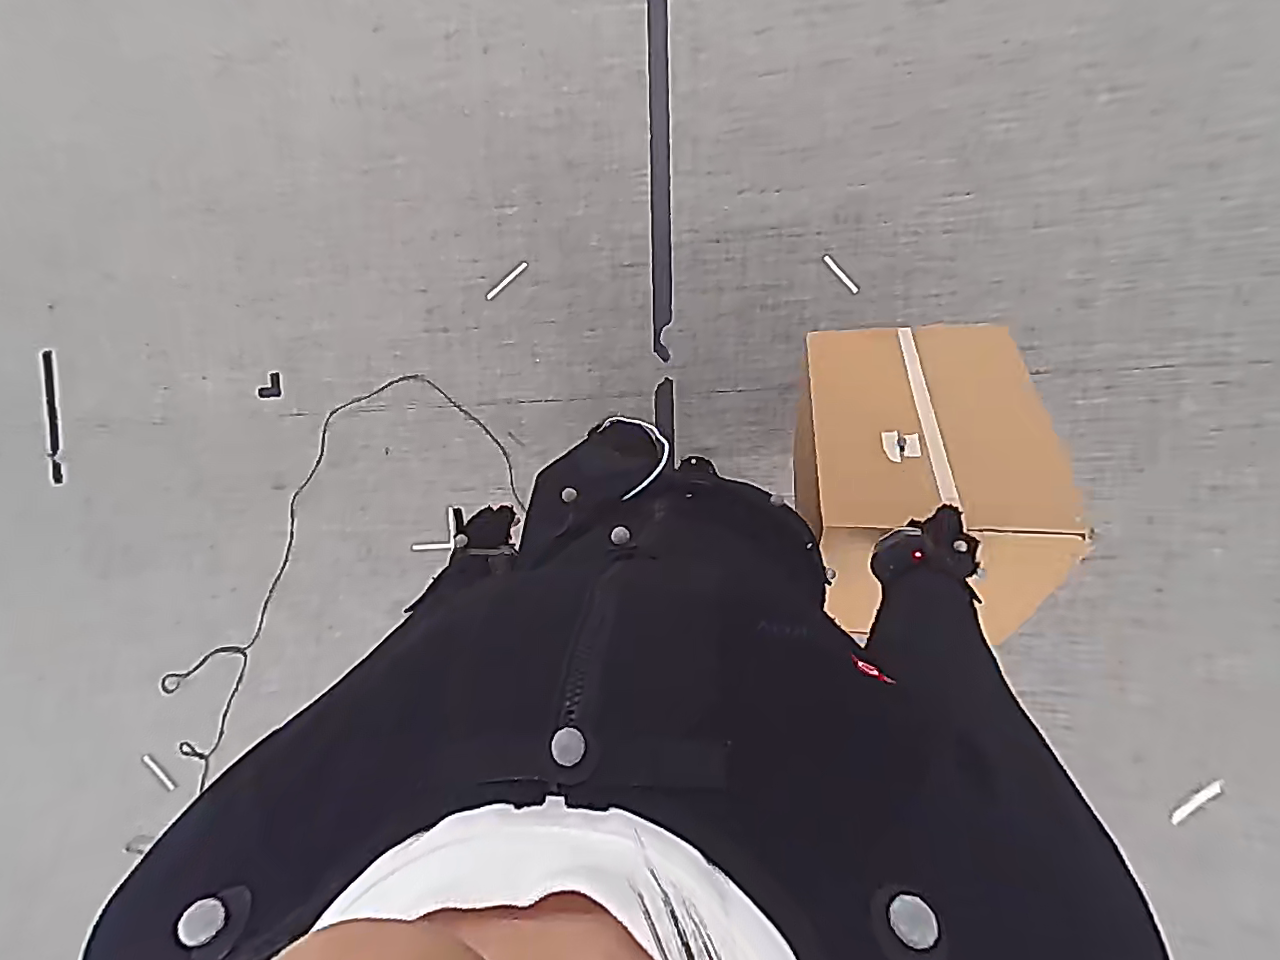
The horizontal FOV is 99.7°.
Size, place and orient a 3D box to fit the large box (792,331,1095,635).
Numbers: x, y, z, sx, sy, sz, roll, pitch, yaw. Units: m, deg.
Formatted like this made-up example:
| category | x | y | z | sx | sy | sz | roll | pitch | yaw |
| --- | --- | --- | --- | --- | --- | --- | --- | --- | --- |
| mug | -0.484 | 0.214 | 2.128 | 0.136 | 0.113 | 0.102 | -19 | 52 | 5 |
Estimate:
| category | x | y | z | sx | sy | sz | roll | pitch | yaw |
| --- | --- | --- | --- | --- | --- | --- | --- | --- | --- |
| large box | 0.434 | 0.002 | 0.901 | 0.320 | 0.320 | 0.408 | 0 | 53 | 12 |
